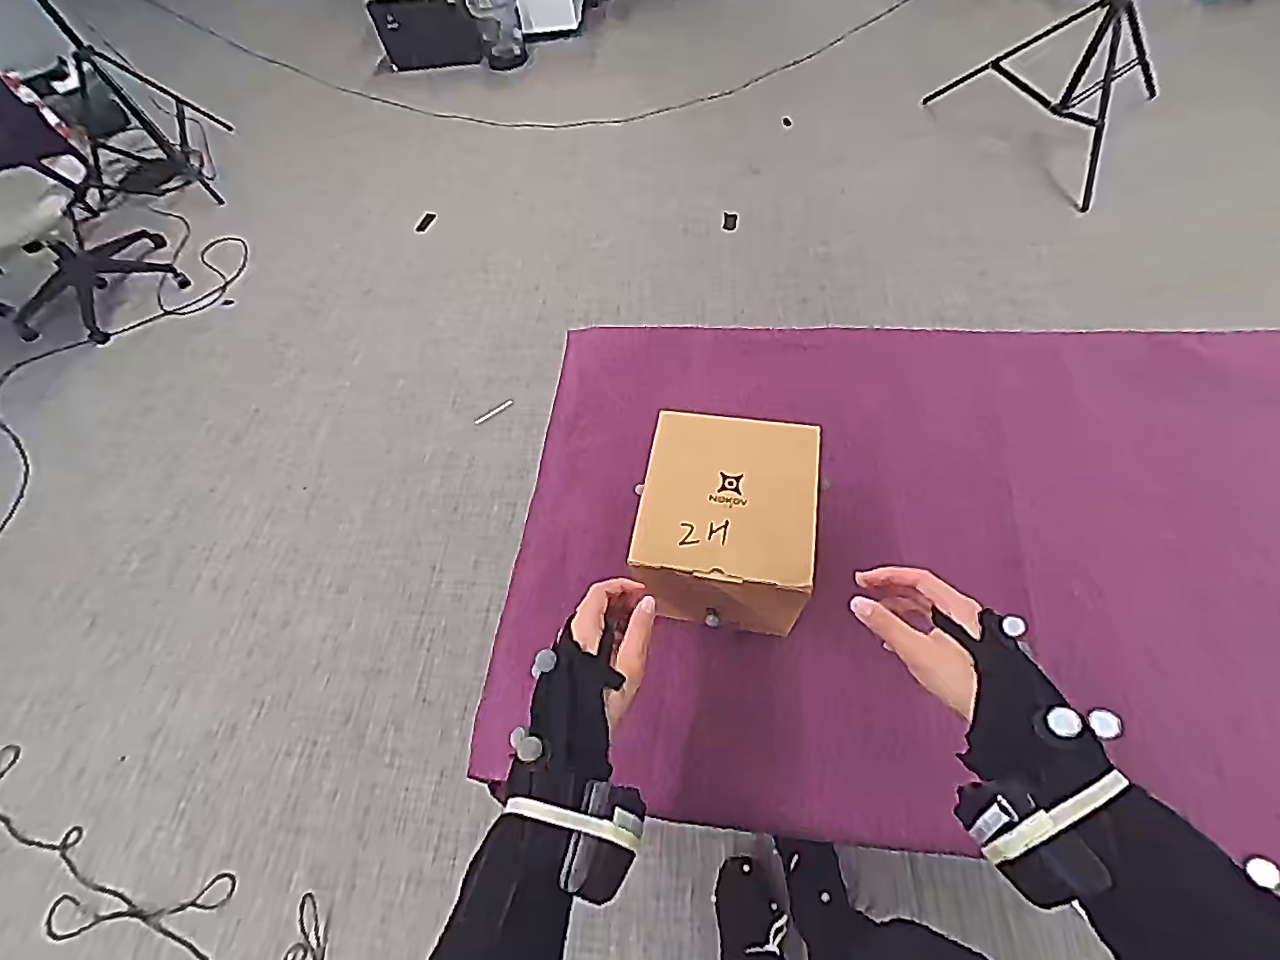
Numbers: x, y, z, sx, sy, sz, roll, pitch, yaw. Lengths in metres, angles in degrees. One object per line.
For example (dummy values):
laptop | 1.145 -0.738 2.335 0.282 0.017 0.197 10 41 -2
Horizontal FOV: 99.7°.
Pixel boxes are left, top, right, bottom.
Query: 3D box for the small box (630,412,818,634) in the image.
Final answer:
small box | 0.092 0.051 0.593 0.168 0.176 0.179 7 61 11
